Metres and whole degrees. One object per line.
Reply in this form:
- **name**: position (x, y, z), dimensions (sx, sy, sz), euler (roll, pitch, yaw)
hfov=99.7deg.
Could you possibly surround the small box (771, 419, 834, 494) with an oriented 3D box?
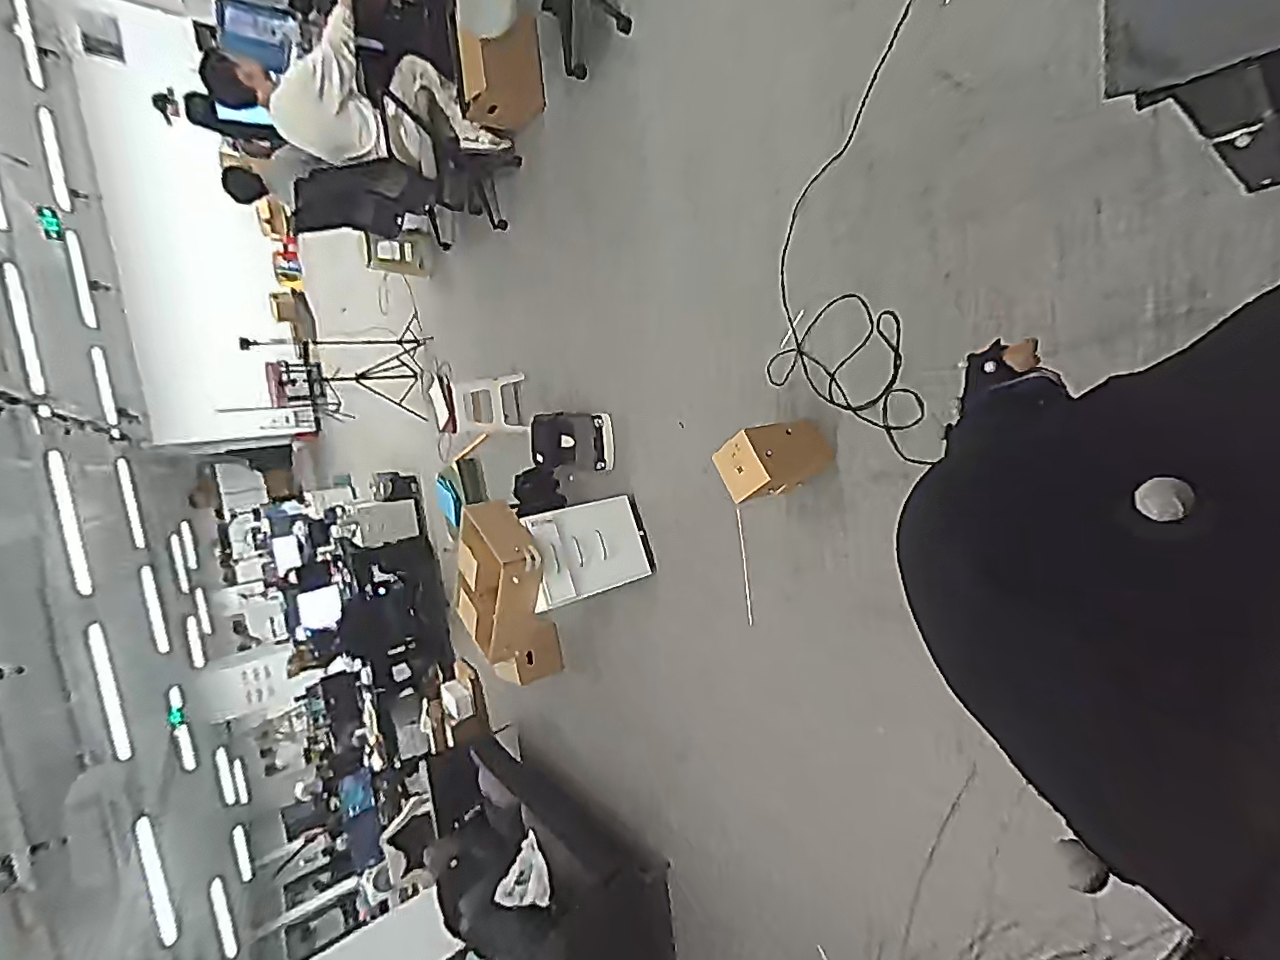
- **small box**: position (0.491, -0.080, 1.757), dimensions (0.179, 0.176, 0.168), euler (61, 140, 21)

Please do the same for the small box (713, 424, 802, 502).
- **small box**: position (0.362, -0.057, 1.657), dimensions (0.168, 0.176, 0.179), euler (-45, 64, 48)
